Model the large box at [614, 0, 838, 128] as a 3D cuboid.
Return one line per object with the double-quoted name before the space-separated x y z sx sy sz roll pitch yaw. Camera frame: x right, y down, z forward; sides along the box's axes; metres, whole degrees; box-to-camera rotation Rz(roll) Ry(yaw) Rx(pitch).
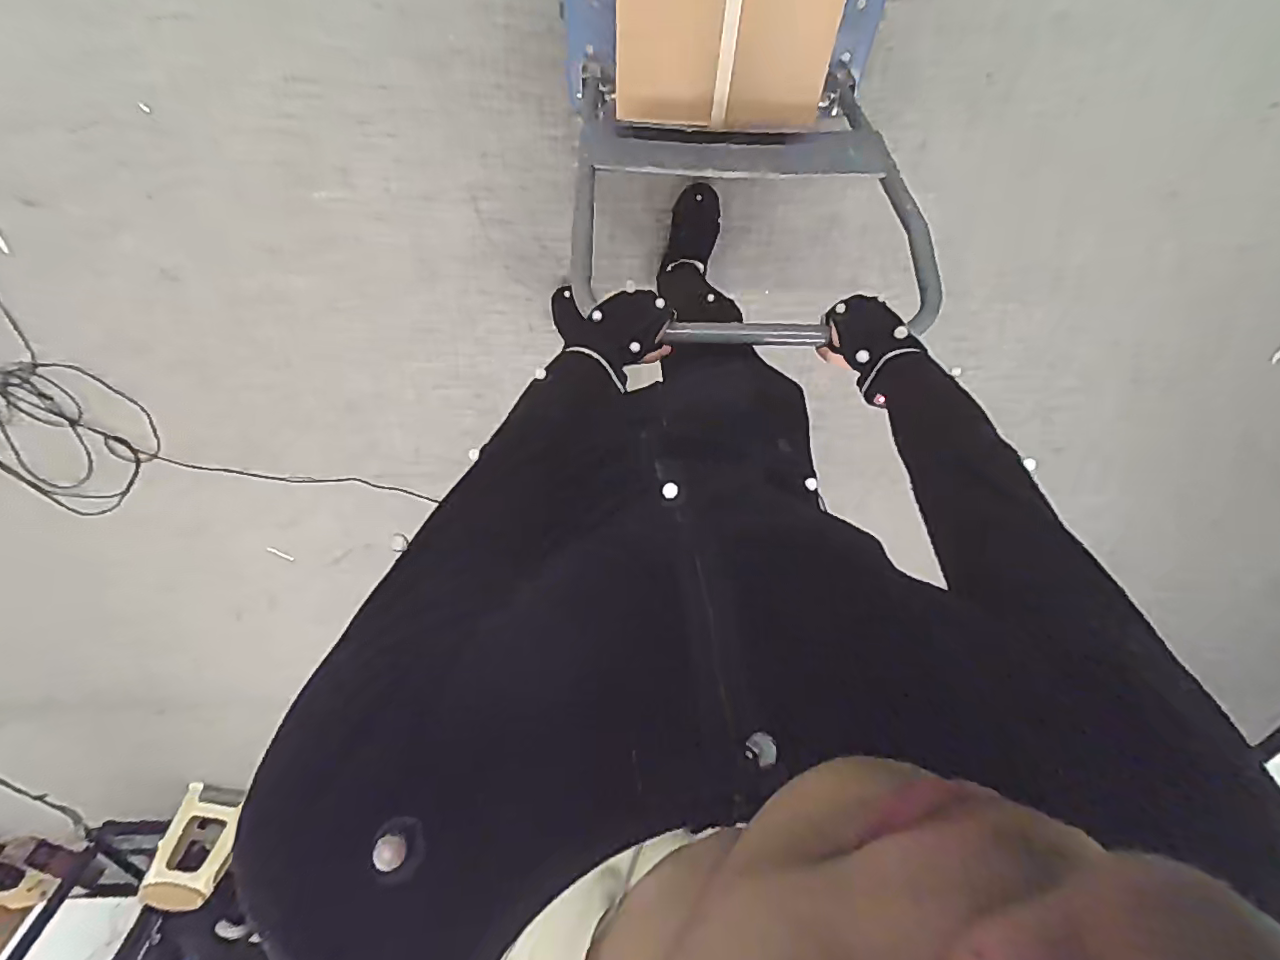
"large box" 0.122 -0.807 0.807 0.320 0.320 0.408 0 141 -3
